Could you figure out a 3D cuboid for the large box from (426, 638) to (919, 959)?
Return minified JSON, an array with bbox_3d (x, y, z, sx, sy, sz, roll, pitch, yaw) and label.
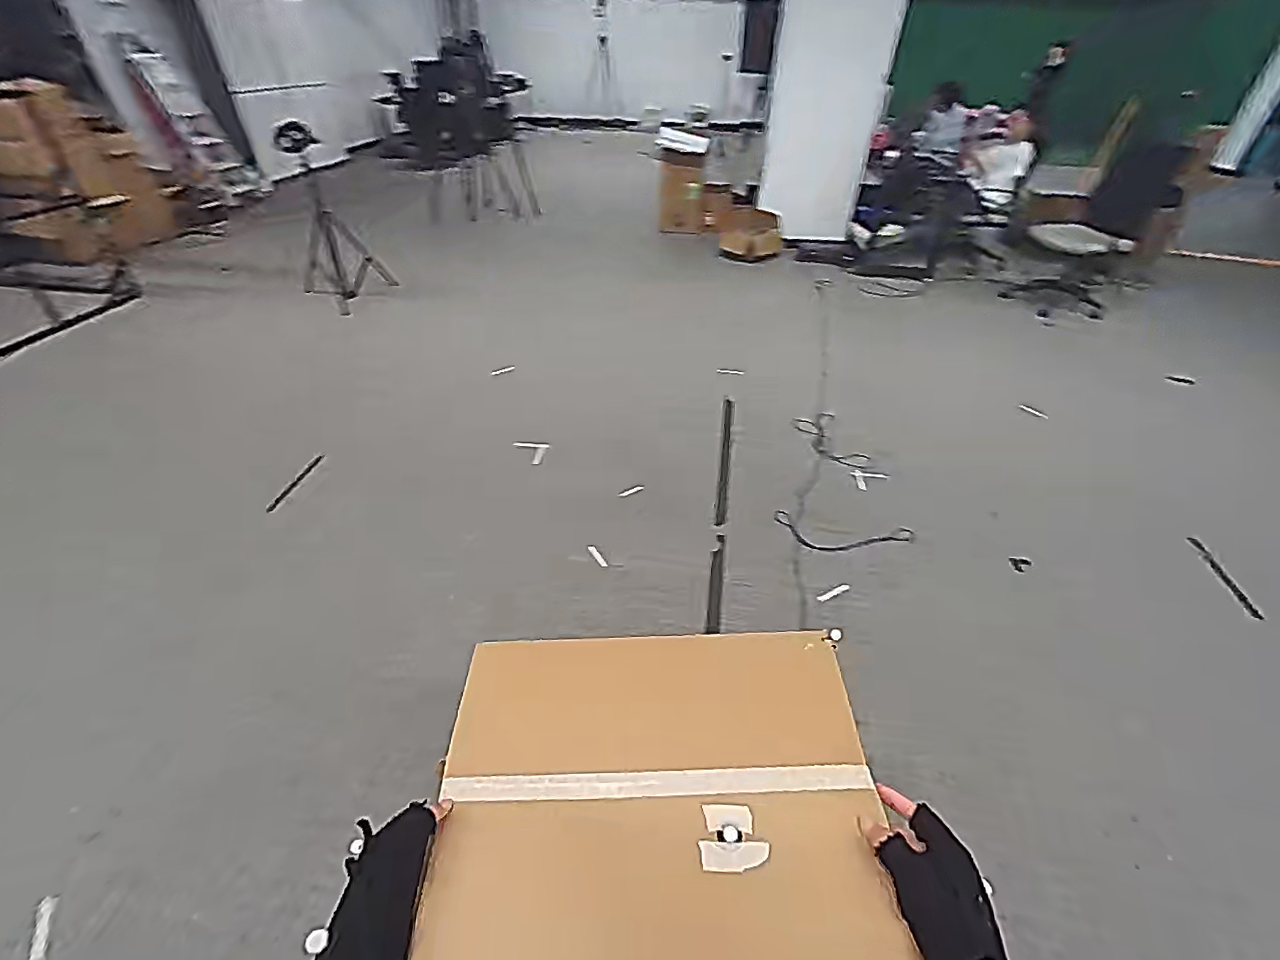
[{"bbox_3d":[0.027,0.404,0.629,0.408,0.320,0.320,-1,44,2],"label":"large box"}]
